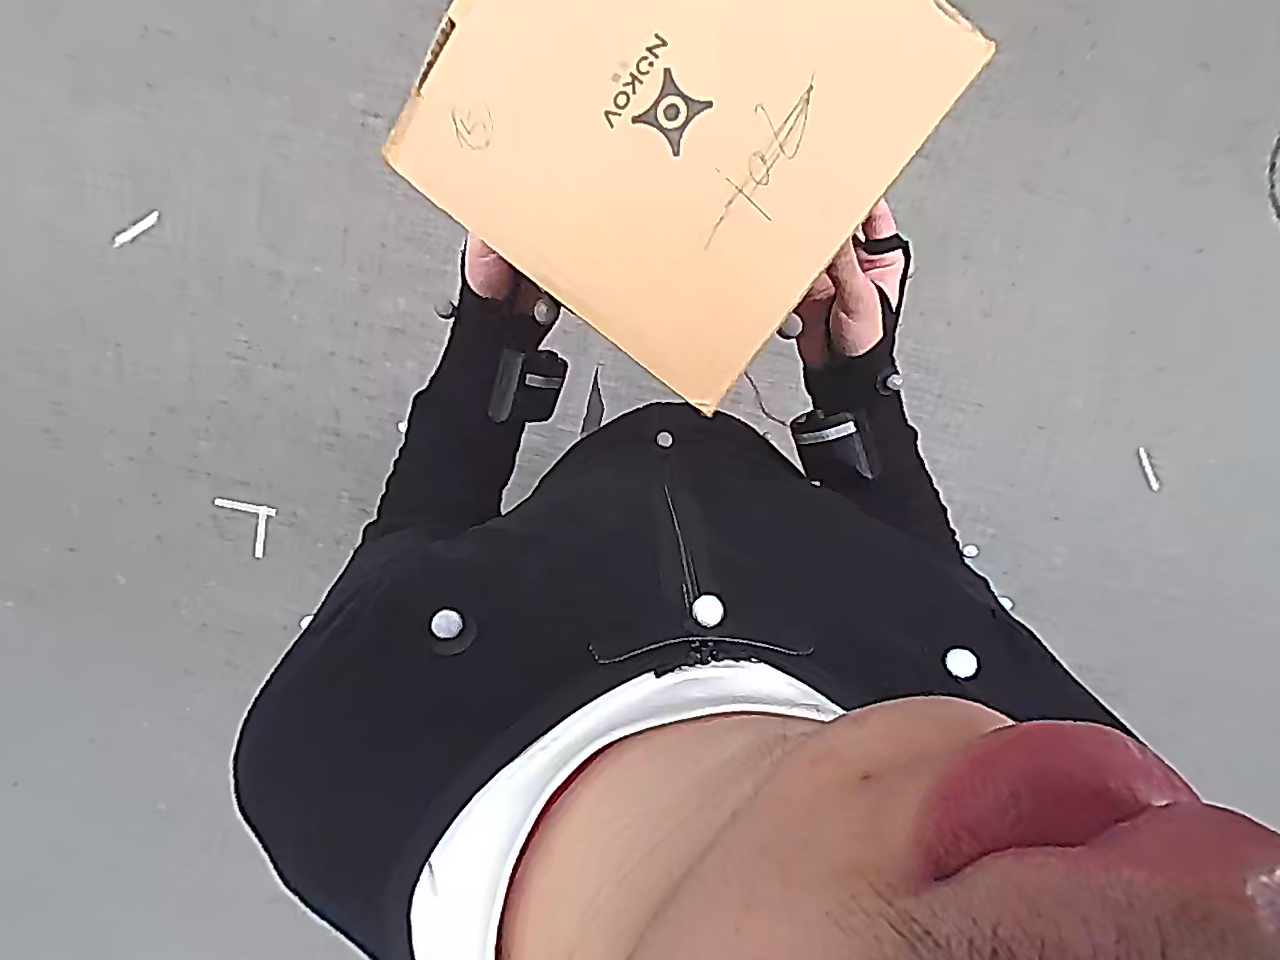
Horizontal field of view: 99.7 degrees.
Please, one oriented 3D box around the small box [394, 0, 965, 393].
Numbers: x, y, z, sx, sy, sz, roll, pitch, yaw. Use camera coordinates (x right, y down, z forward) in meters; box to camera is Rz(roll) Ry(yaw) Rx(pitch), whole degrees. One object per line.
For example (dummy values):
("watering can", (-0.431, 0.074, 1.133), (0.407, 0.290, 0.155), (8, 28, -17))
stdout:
("small box", (0.016, -0.163, 0.297), (0.179, 0.176, 0.168), (37, 102, -2))
